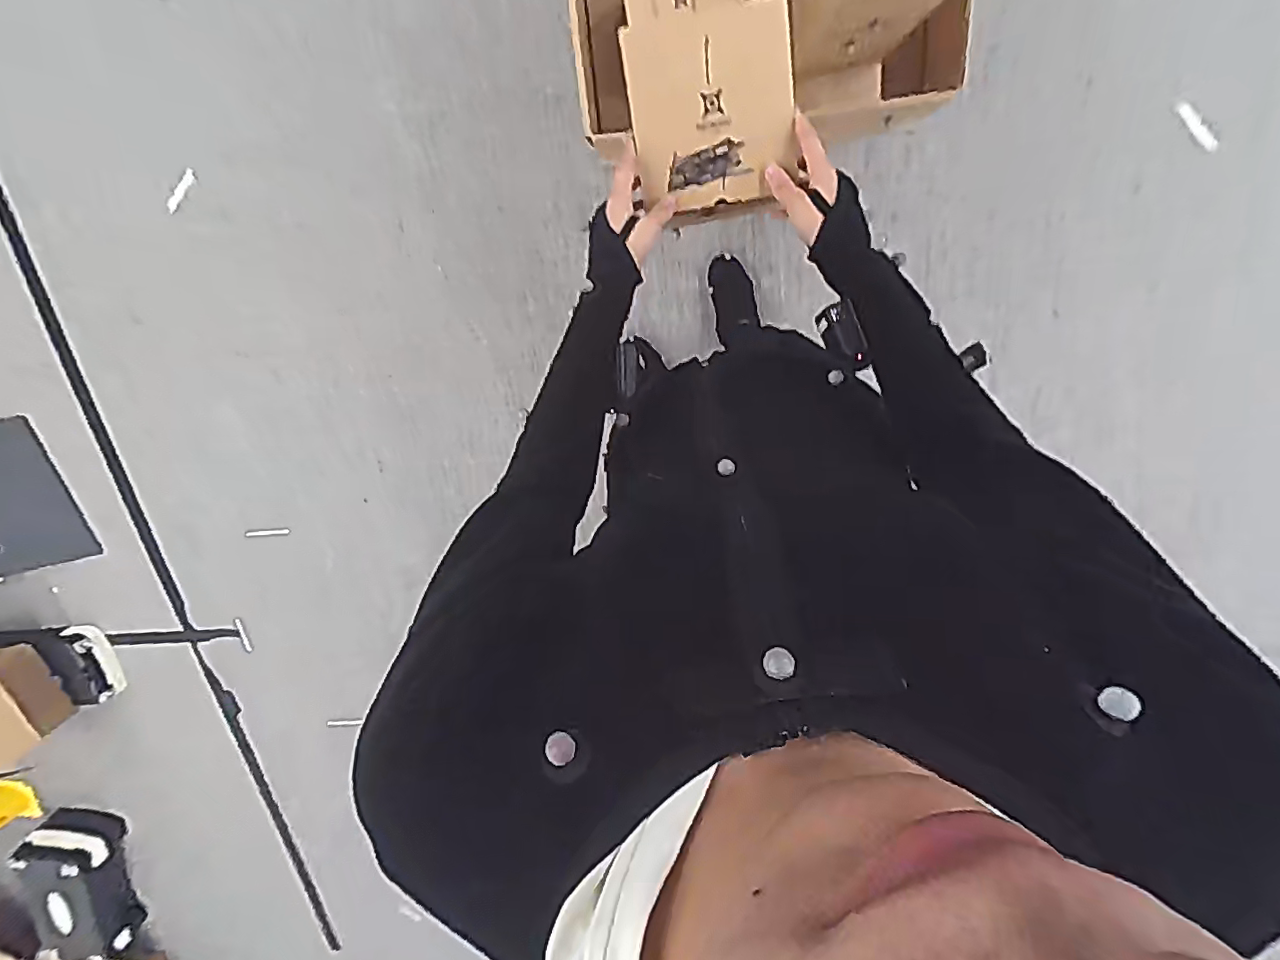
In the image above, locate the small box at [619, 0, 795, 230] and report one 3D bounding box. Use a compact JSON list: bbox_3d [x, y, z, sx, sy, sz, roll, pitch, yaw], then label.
[{"bbox_3d":[0.076,-0.397,0.625,0.168,0.176,0.179,-8,109,6],"label":"small box"}]
